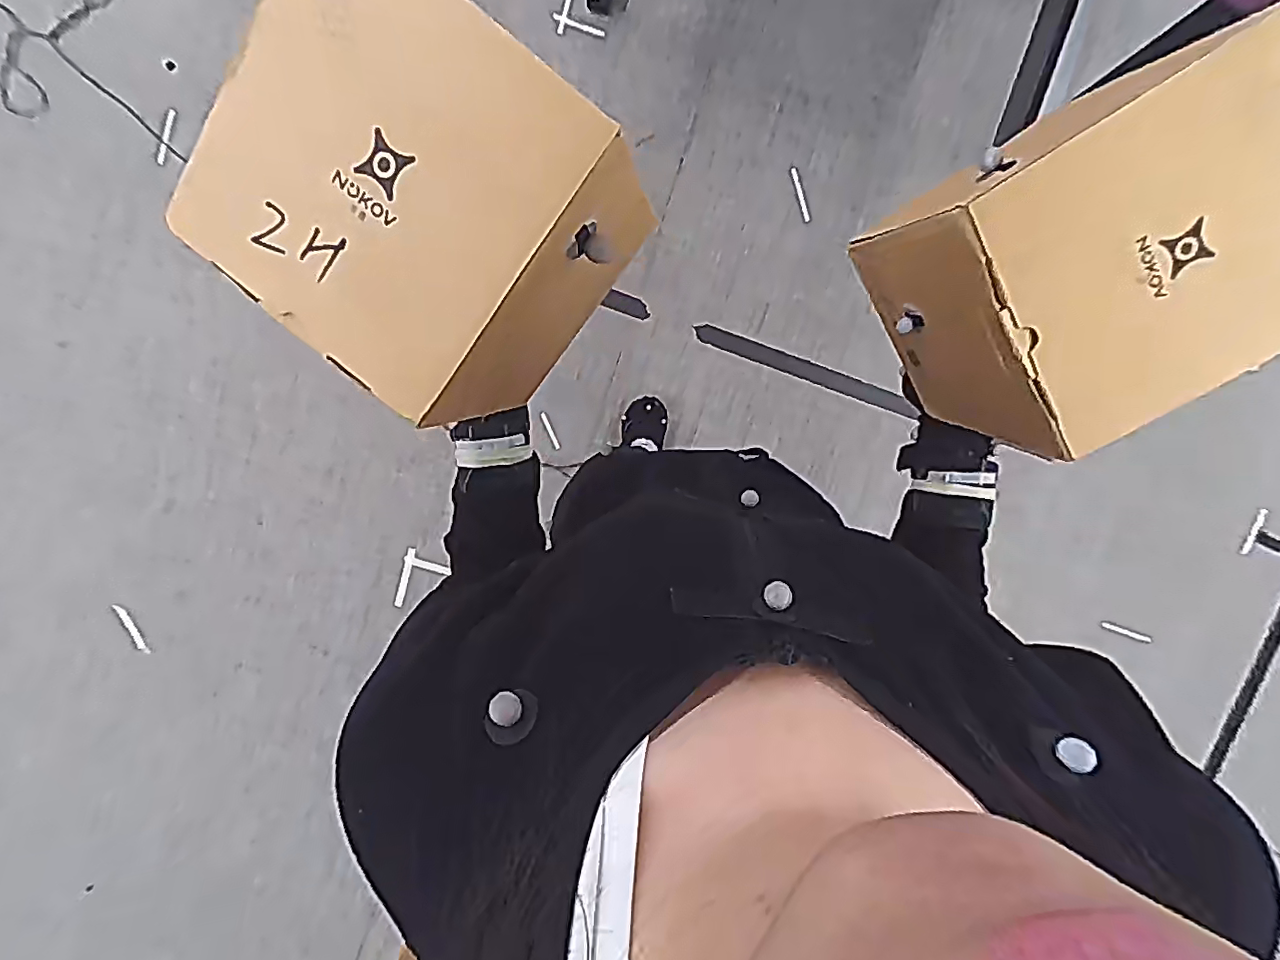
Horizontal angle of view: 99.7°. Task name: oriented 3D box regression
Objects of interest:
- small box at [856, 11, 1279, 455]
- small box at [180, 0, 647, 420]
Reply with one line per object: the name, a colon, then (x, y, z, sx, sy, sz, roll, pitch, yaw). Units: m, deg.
small box: (0.284, -0.146, 0.367, 0.179, 0.176, 0.168, -31, 105, 10)
small box: (-0.109, -0.162, 0.335, 0.168, 0.176, 0.179, 39, 104, -2)
